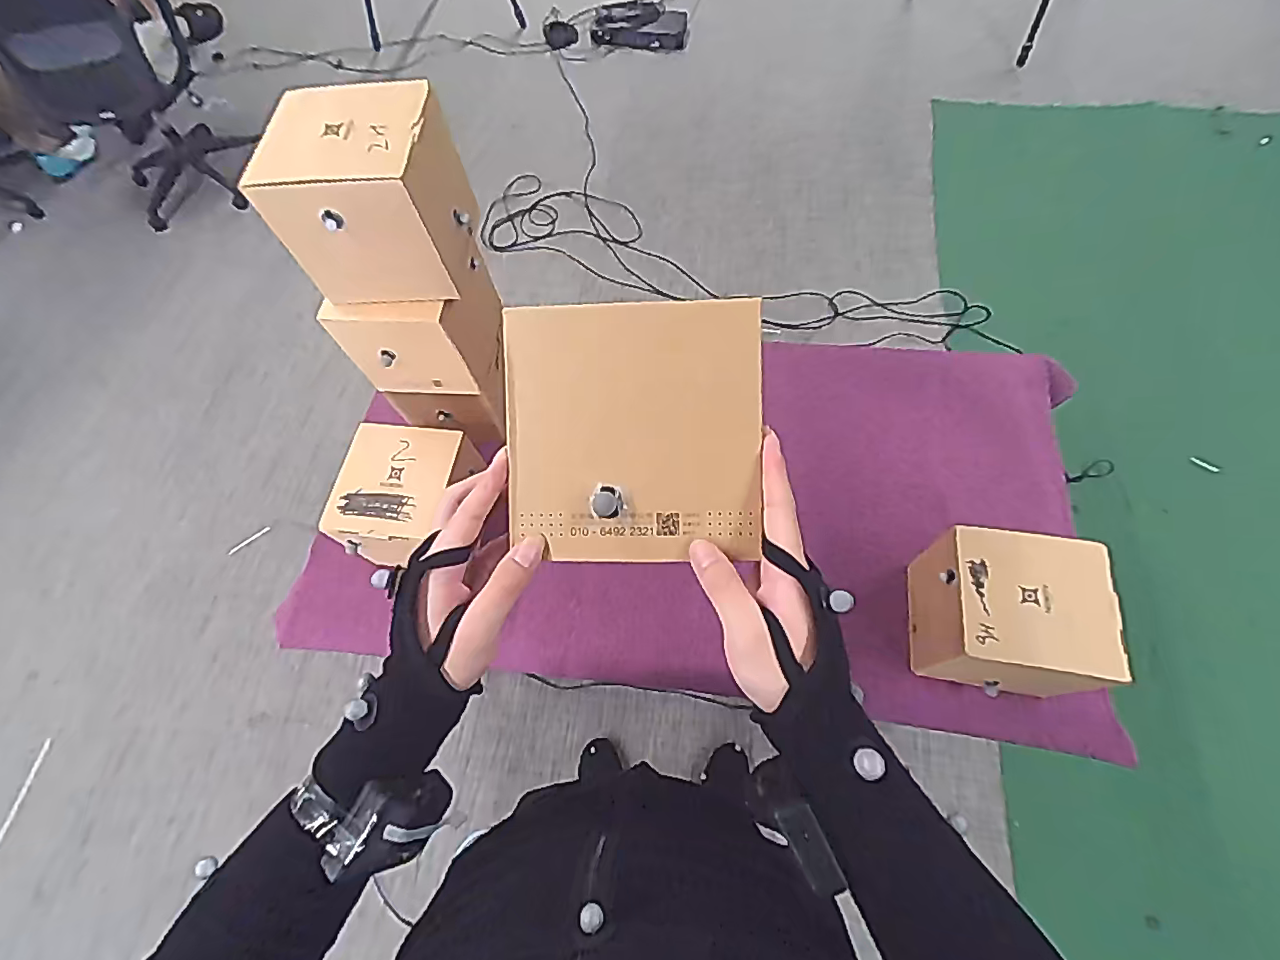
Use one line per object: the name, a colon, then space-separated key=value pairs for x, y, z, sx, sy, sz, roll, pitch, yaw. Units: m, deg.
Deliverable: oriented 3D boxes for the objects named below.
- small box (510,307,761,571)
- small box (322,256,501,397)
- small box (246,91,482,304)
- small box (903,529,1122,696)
small box: x=0.002 y=-0.027 z=0.430 sx=0.168 sy=0.179 sz=0.176 roll=-1 pitch=92 yaw=4
small box: x=-0.317 y=-0.238 z=0.793 sx=0.168 sy=0.176 sz=0.179 roll=3 pitch=64 yaw=5
small box: x=-0.313 y=-0.331 z=0.655 sx=0.179 sy=0.176 sz=0.168 roll=0 pitch=65 yaw=3
small box: x=0.472 y=0.183 z=0.717 sx=0.179 sy=0.176 sz=0.168 roll=9 pitch=64 yaw=8
